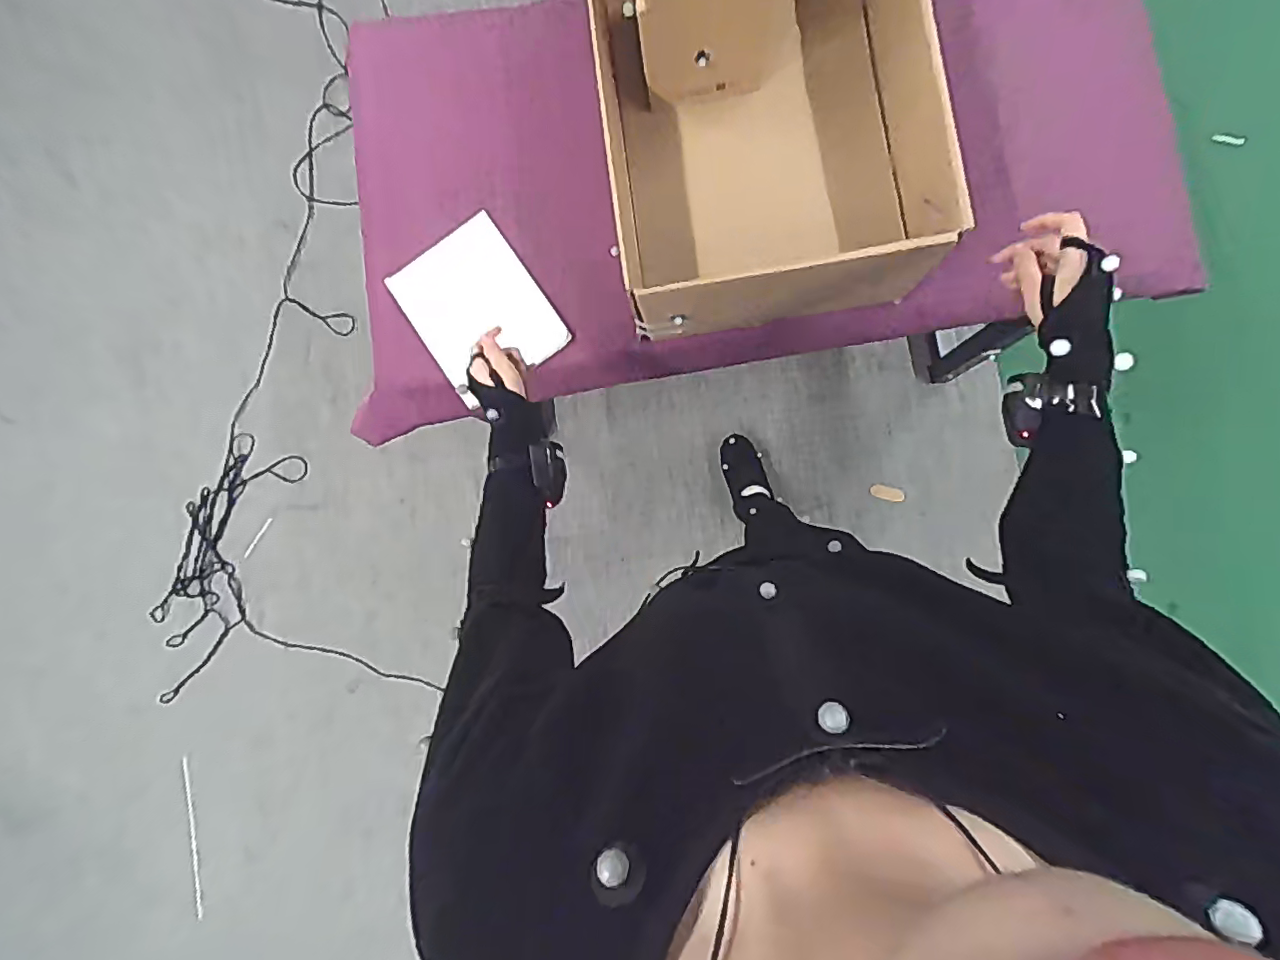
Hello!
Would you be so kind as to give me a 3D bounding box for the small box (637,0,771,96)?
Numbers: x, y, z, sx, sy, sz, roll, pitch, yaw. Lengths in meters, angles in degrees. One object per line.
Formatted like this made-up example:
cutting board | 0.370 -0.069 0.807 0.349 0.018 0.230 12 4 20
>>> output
small box | 0.080 -0.650 0.716 0.168 0.176 0.179 -7 87 6
